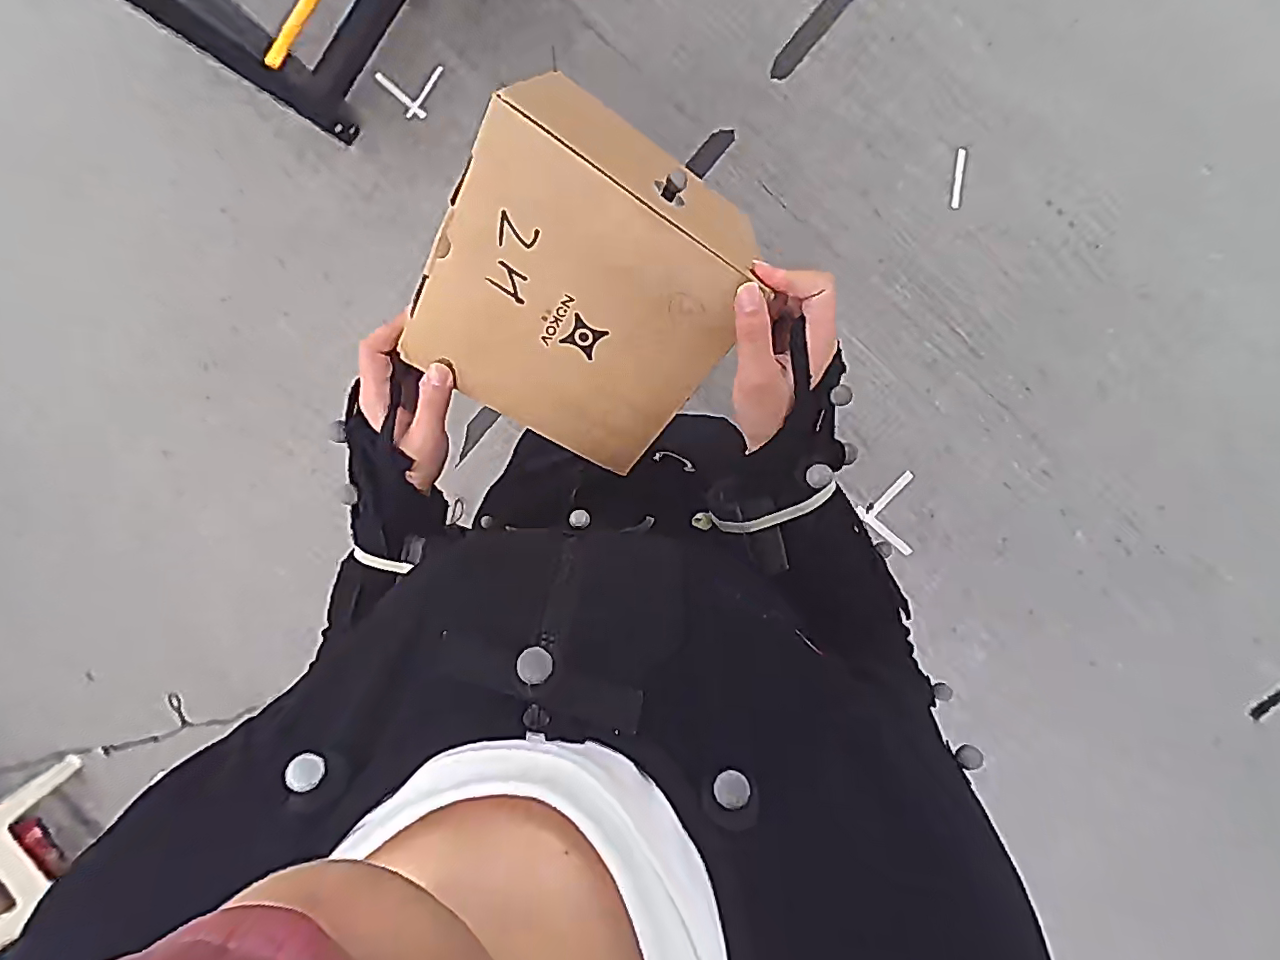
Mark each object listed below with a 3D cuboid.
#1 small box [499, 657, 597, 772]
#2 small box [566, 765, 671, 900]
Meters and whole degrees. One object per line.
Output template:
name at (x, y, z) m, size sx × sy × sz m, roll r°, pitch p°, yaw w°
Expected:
small box at (-0.231, 0.605, 1.412) m, size 0.168 × 0.176 × 0.179 m, roll 38°, pitch 101°, yaw -2°
small box at (-0.043, 0.807, 1.261) m, size 0.179 × 0.176 × 0.168 m, roll 35°, pitch 102°, yaw -1°
